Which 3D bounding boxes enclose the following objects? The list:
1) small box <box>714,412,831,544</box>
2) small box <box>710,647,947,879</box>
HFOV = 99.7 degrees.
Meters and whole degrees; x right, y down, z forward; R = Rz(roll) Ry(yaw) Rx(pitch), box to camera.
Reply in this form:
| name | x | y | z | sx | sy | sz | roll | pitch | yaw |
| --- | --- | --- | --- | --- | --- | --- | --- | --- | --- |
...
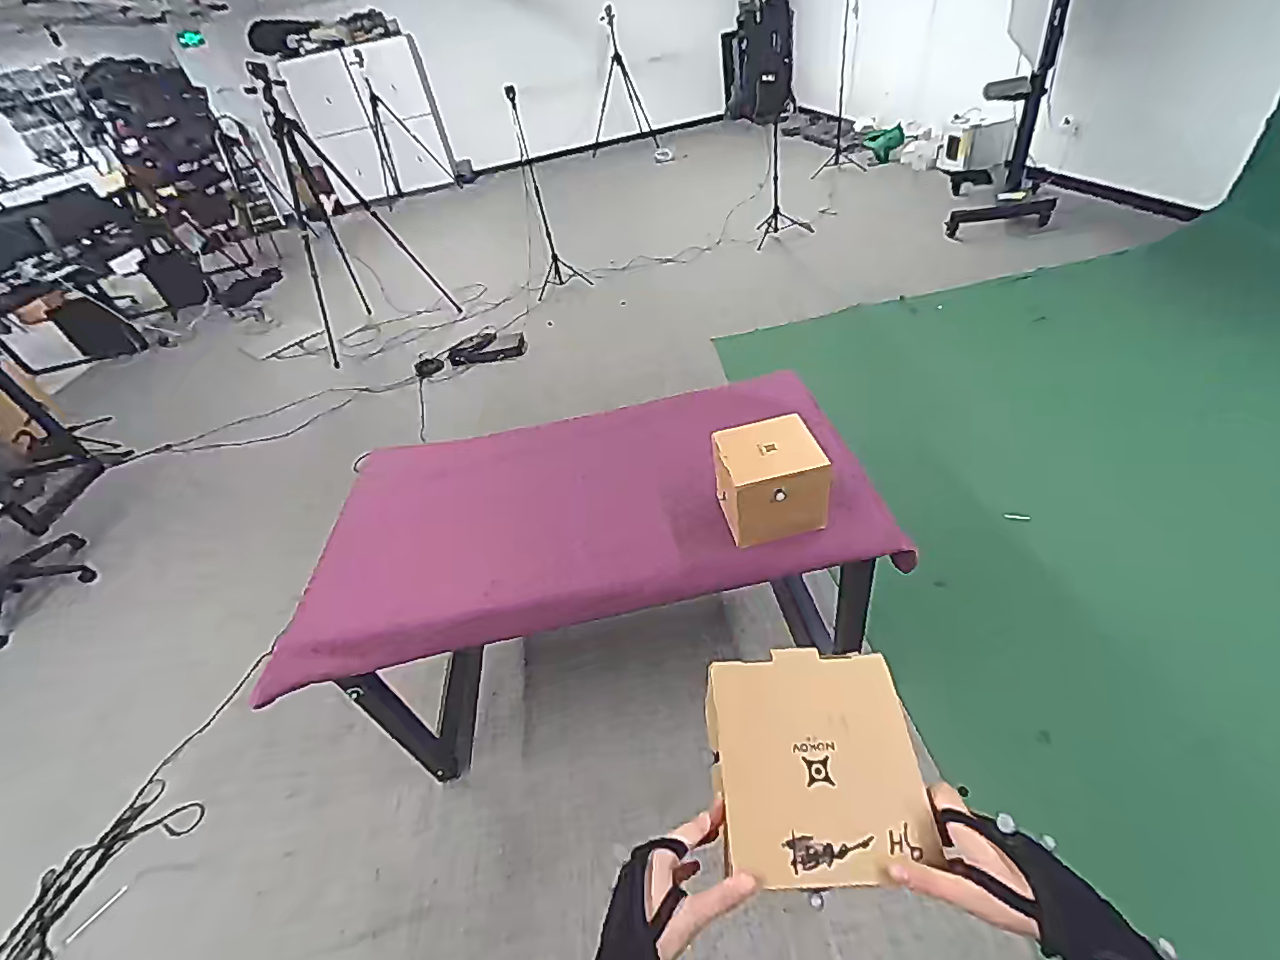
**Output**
| name | x | y | z | sx | sy | sz | roll | pitch | yaw |
| --- | --- | --- | --- | --- | --- | --- | --- | --- | --- |
| small box | 0.254 | -0.001 | 1.053 | 0.179 | 0.176 | 0.168 | -15 | 41 | 2 |
| small box | 0.159 | 0.280 | 0.531 | 0.168 | 0.176 | 0.179 | -5 | 54 | 3 |
